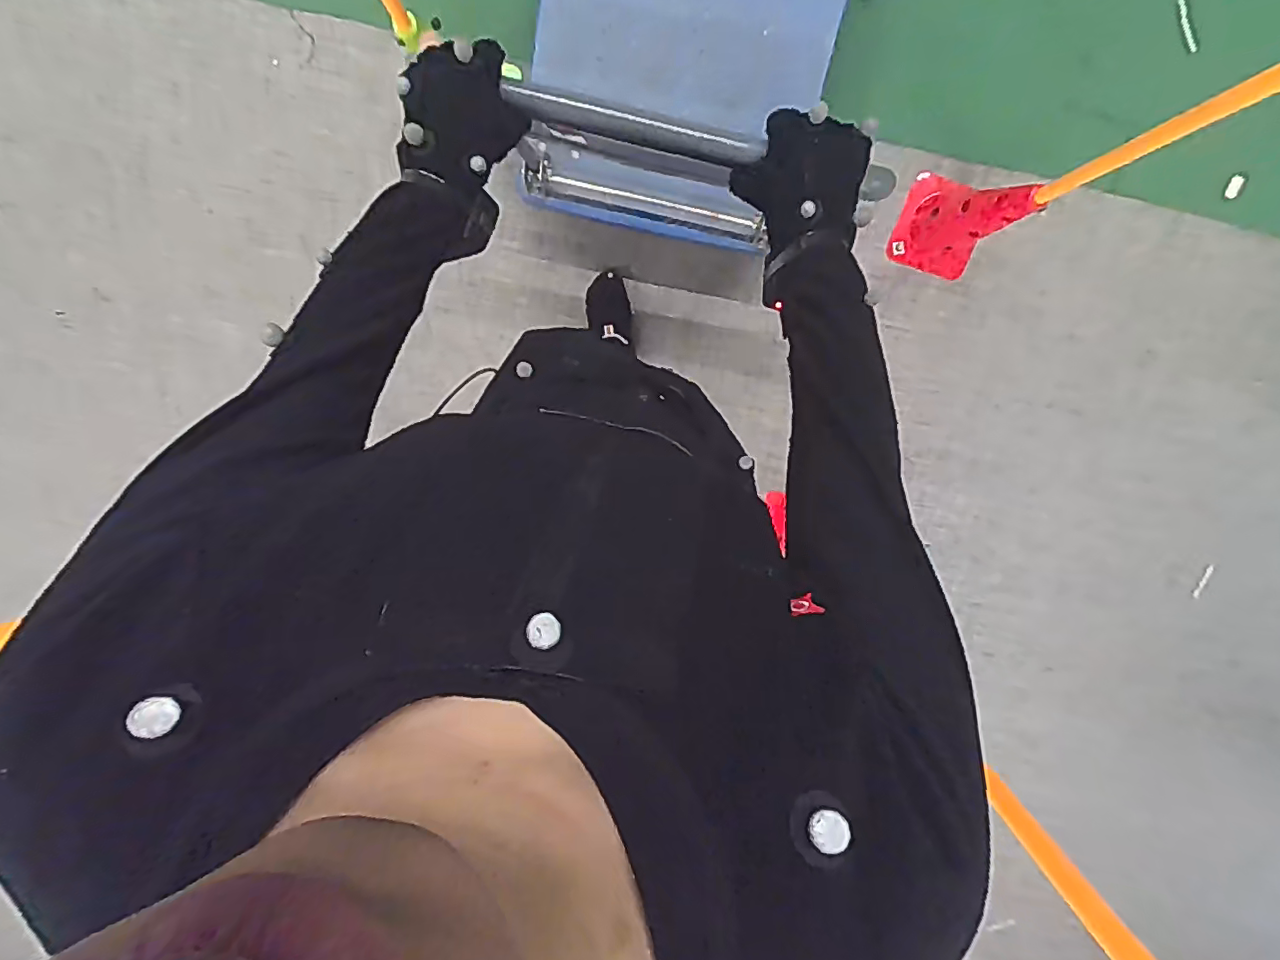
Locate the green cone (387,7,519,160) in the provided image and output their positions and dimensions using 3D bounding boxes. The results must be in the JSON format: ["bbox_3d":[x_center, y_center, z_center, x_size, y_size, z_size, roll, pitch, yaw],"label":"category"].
[{"bbox_3d":[-0.395,-0.820,1.076,0.202,0.368,0.200,16,105,-3],"label":"green cone"}]
